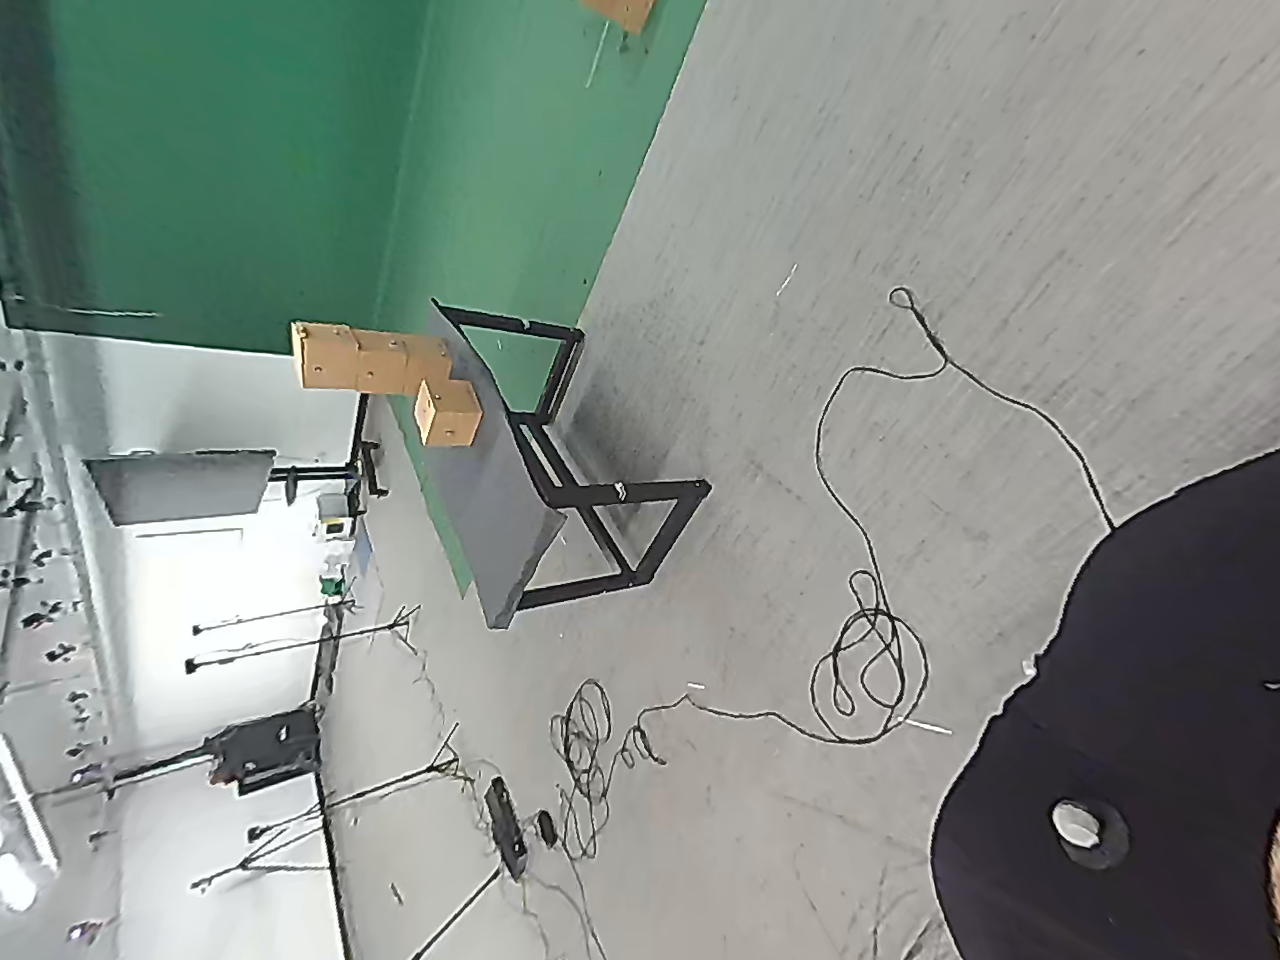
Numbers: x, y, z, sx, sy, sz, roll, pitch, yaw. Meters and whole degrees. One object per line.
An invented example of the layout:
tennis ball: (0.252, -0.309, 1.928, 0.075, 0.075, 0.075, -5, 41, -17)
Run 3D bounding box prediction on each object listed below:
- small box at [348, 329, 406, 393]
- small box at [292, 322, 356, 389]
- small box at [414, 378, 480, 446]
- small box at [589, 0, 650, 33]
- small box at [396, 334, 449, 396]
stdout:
small box: (-0.978, -0.435, 1.994, 0.168, 0.176, 0.179, 48, 128, 34)
small box: (-1.103, -0.431, 1.885, 0.168, 0.176, 0.179, 45, 127, 36)
small box: (-0.681, -0.237, 1.911, 0.179, 0.176, 0.168, -55, 54, 39)
small box: (-0.075, -1.998, 2.230, 0.168, 0.176, 0.179, -53, 54, 37)
small box: (-0.855, -0.443, 2.100, 0.168, 0.176, 0.179, 53, 132, 33)
